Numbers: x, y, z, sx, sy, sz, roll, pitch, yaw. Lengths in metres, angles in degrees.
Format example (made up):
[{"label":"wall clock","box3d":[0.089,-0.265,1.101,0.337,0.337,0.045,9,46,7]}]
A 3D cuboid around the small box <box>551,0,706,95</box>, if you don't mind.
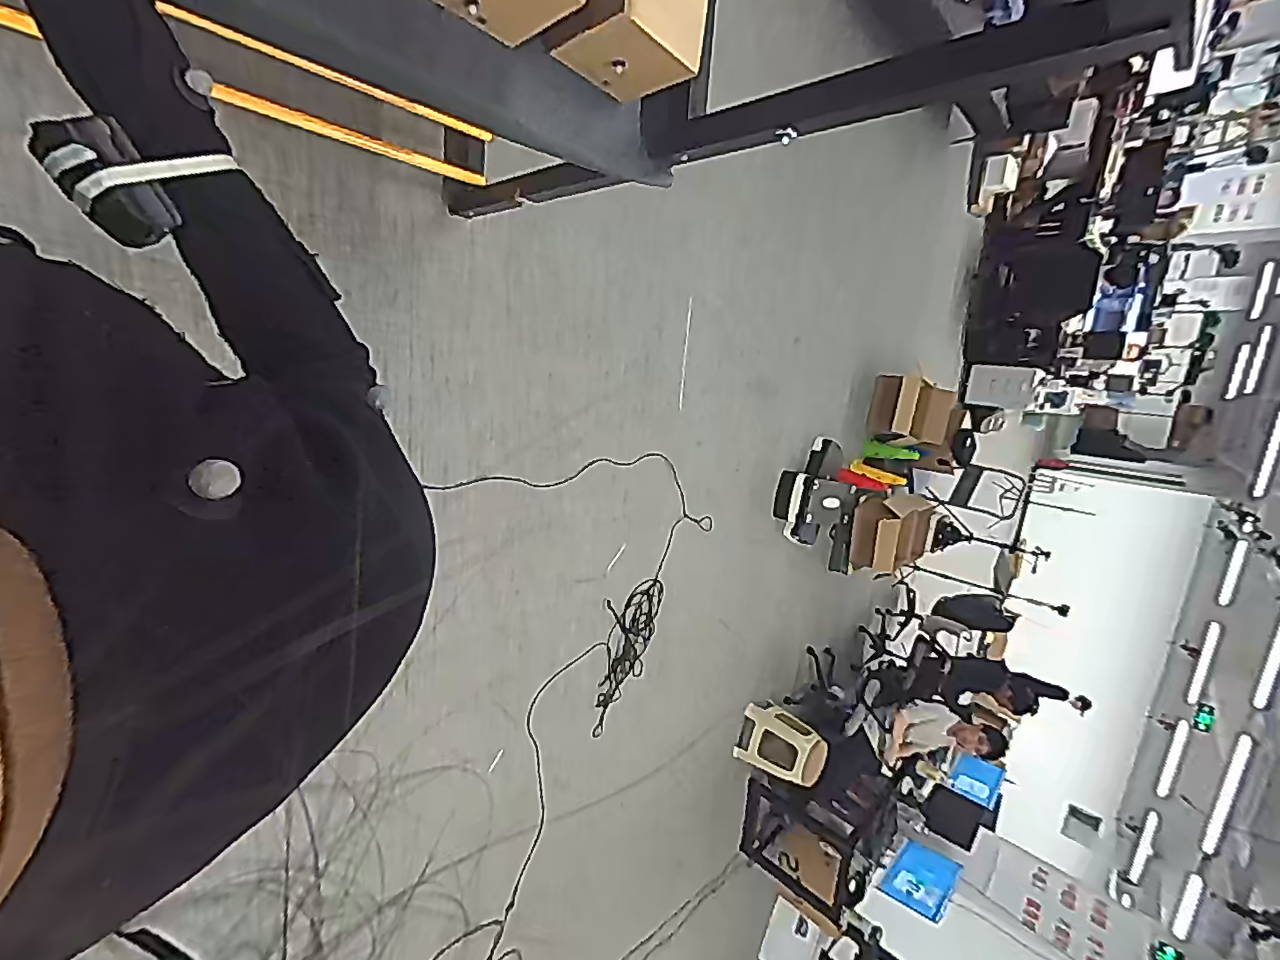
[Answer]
[{"label":"small box","box3d":[-0.017,-0.724,0.811,0.168,0.176,0.179,-3,103,-47]}]
